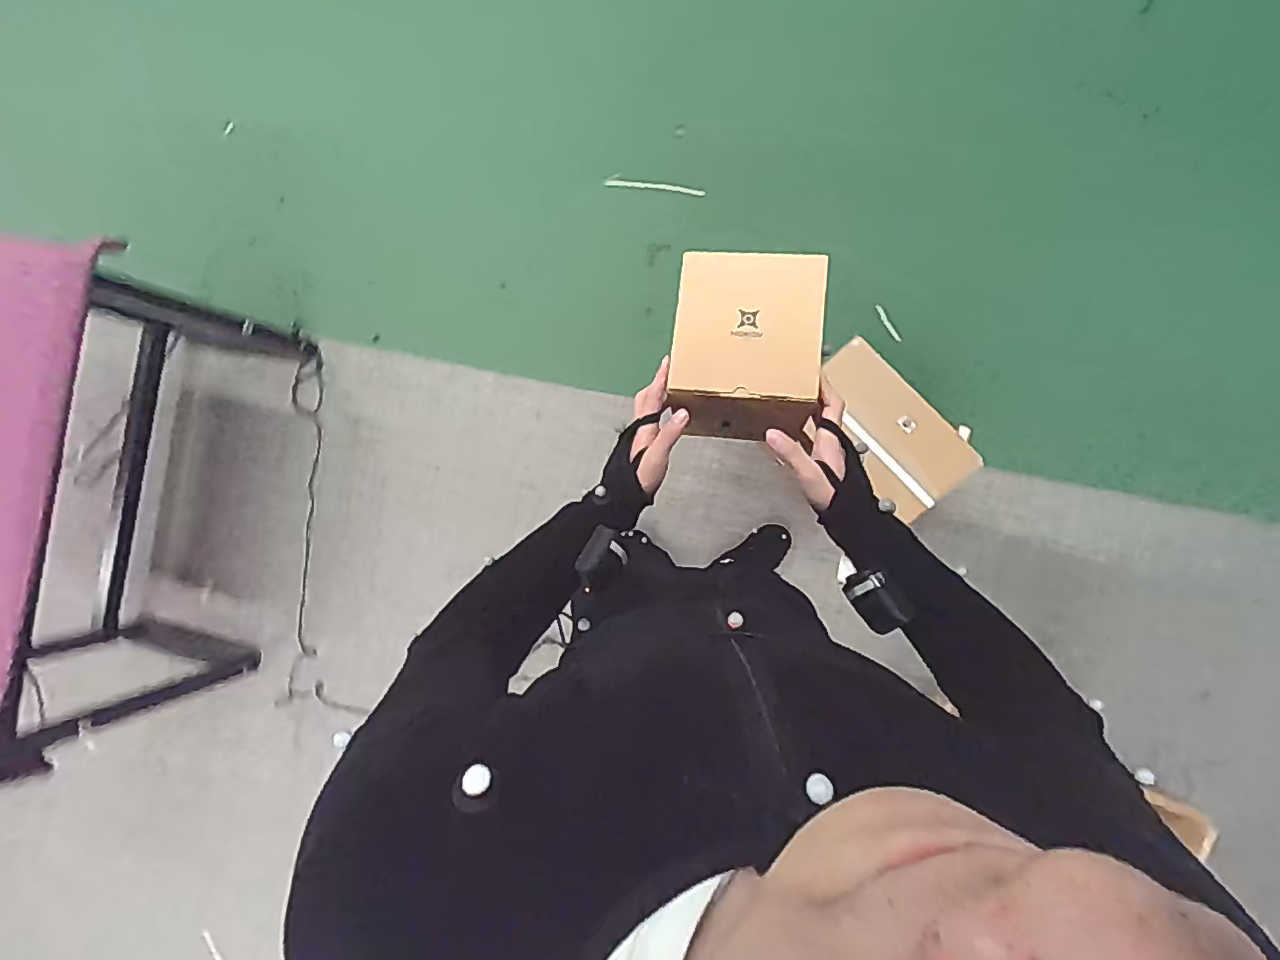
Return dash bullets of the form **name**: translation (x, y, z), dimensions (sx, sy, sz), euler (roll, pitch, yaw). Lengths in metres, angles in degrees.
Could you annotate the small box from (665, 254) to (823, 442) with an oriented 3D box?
- **small box**: translation (0.126, -0.158, 0.684), dimensions (0.168, 0.176, 0.179), euler (5, 81, 9)
